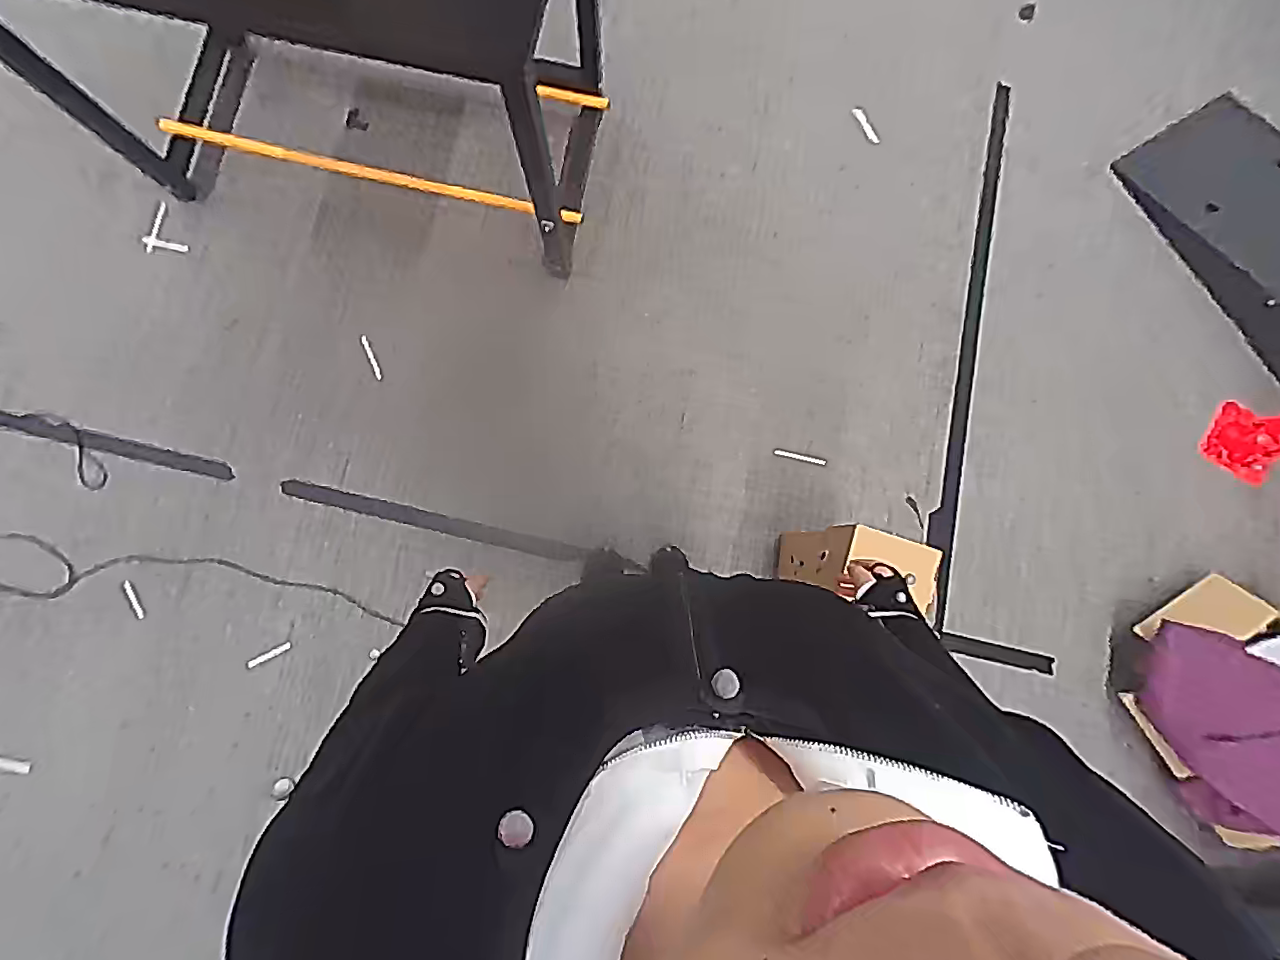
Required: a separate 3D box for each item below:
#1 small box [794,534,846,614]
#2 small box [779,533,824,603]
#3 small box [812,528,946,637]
[{"bbox_3d":[0.481,0.225,1.265,0.179,0.176,0.168,13,82,1],"label":"small box"},{"bbox_3d":[0.477,0.240,1.429,0.168,0.176,0.179,9,83,0],"label":"small box"},{"bbox_3d":[0.478,0.202,1.104,0.179,0.176,0.168,18,82,2],"label":"small box"}]
